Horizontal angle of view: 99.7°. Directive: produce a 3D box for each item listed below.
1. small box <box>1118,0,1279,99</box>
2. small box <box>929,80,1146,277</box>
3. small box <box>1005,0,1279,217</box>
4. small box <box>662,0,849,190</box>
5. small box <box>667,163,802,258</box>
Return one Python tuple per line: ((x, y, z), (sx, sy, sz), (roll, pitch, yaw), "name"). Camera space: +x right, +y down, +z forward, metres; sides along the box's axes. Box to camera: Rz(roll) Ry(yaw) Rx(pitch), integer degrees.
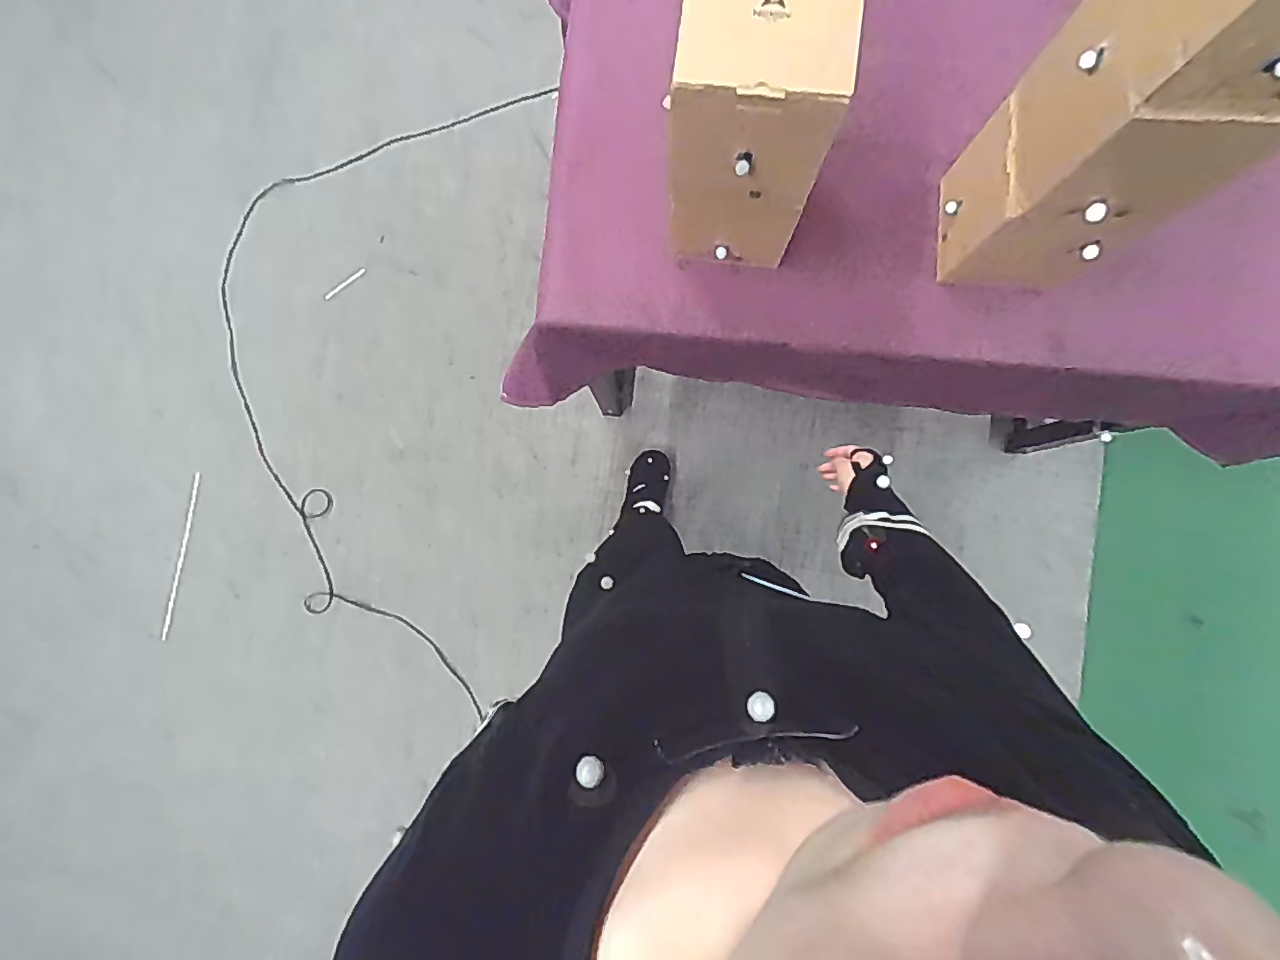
((0.509, -0.432, 0.407), (0.168, 0.176, 0.179), (2, 86, 3), "small box")
((0.524, -0.392, 0.729), (0.179, 0.176, 0.168), (6, 84, 3), "small box")
((0.517, -0.410, 0.567), (0.168, 0.176, 0.179), (5, 85, 3), "small box")
((0.118, -0.447, 0.584), (0.168, 0.176, 0.179), (8, 86, 3), "small box")
((0.128, -0.438, 0.749), (0.168, 0.176, 0.179), (7, 86, 3), "small box")
